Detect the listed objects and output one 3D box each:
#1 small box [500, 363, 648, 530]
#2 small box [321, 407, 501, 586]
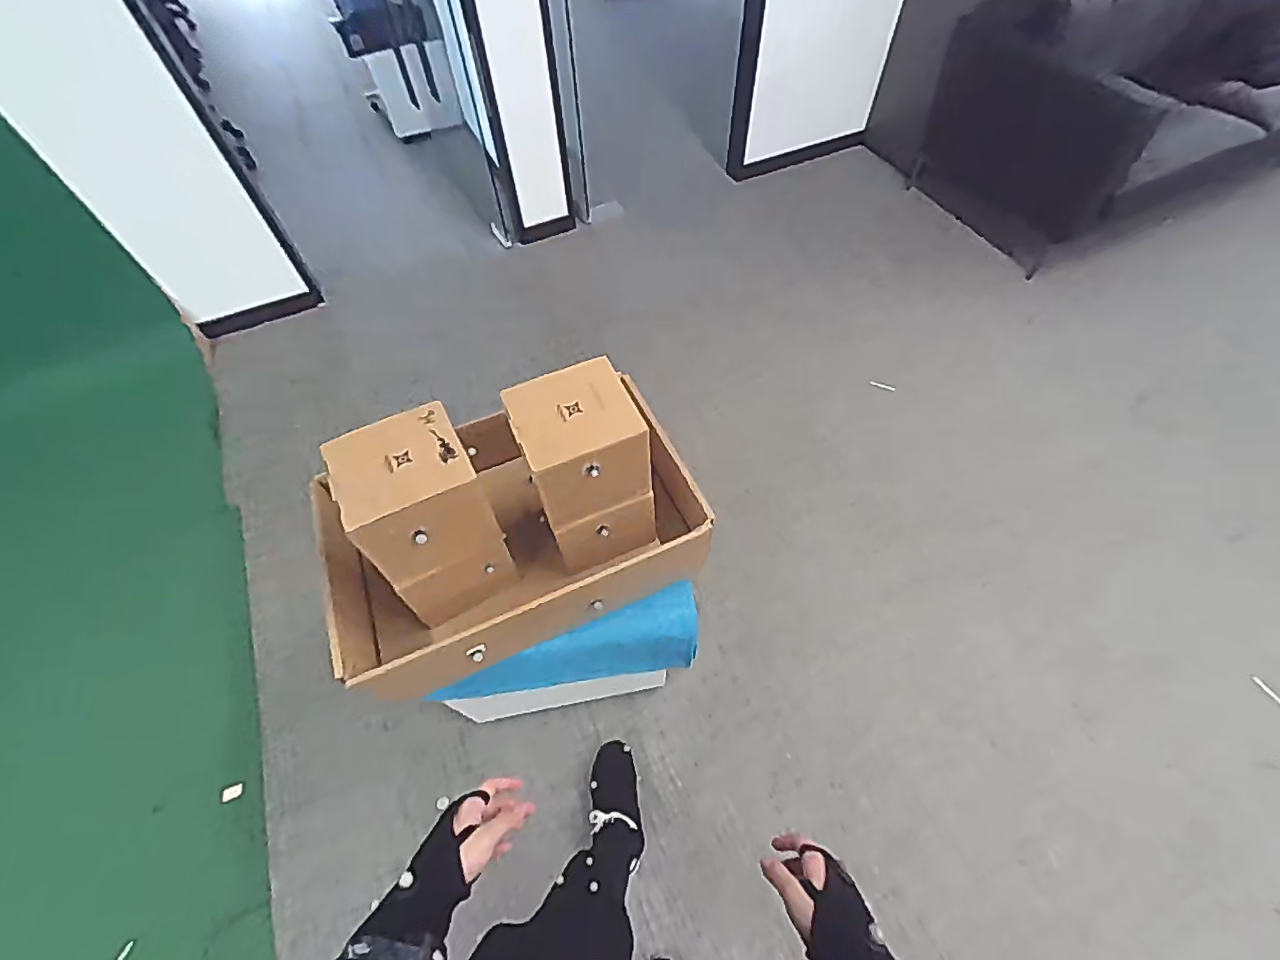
[{"bbox_3d":[-0.096,-0.047,0.844,0.179,0.176,0.168,-21,58,-11],"label":"small box"},{"bbox_3d":[-0.330,0.029,0.802,0.179,0.176,0.168,-26,59,-16],"label":"small box"}]
